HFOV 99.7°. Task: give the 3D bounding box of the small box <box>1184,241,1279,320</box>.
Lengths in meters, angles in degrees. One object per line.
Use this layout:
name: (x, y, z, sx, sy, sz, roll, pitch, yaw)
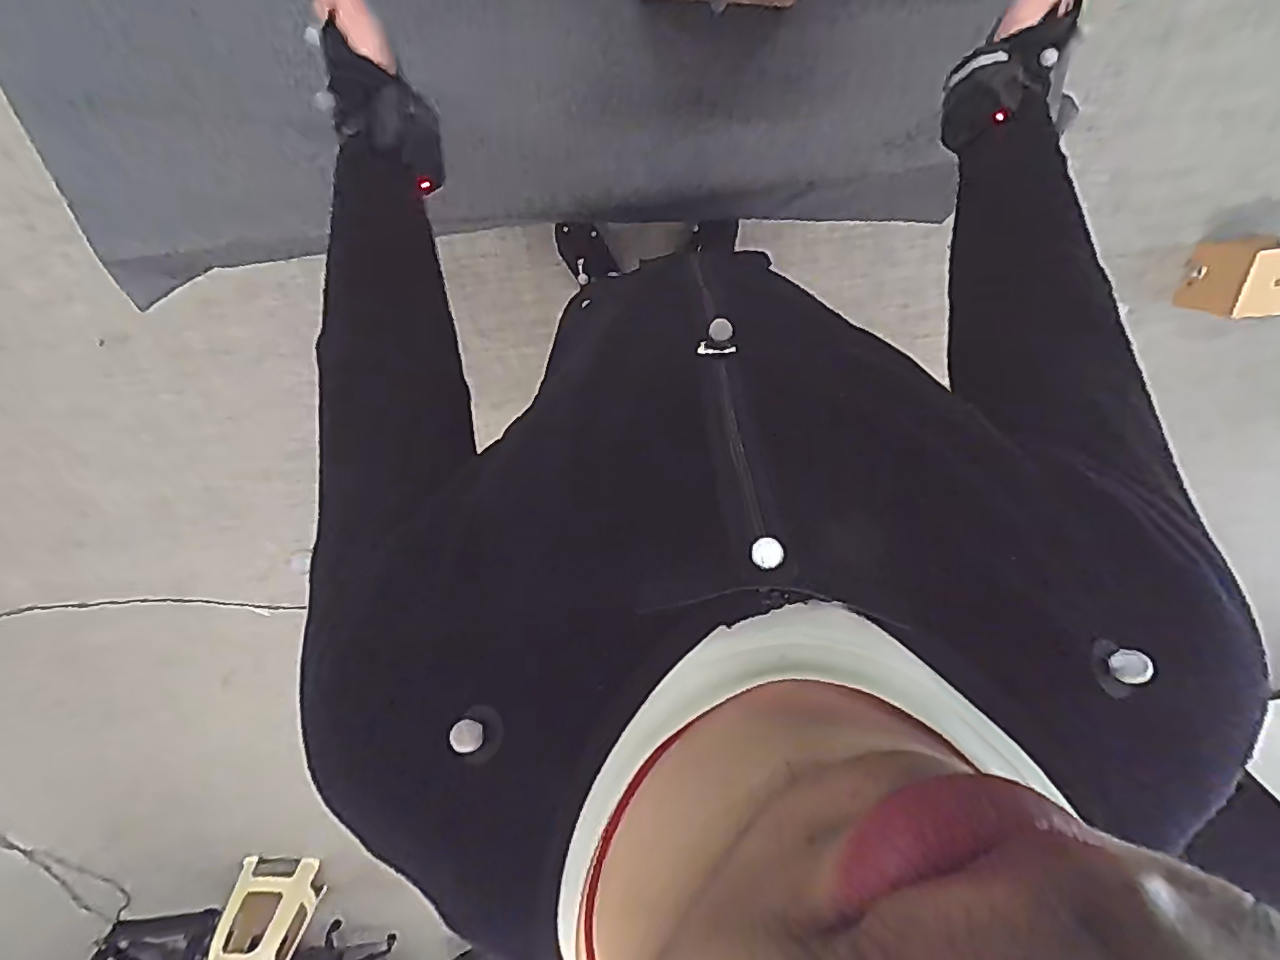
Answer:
small box: (1.576, -0.513, 1.381, 0.179, 0.176, 0.168, -4, 117, 0)
